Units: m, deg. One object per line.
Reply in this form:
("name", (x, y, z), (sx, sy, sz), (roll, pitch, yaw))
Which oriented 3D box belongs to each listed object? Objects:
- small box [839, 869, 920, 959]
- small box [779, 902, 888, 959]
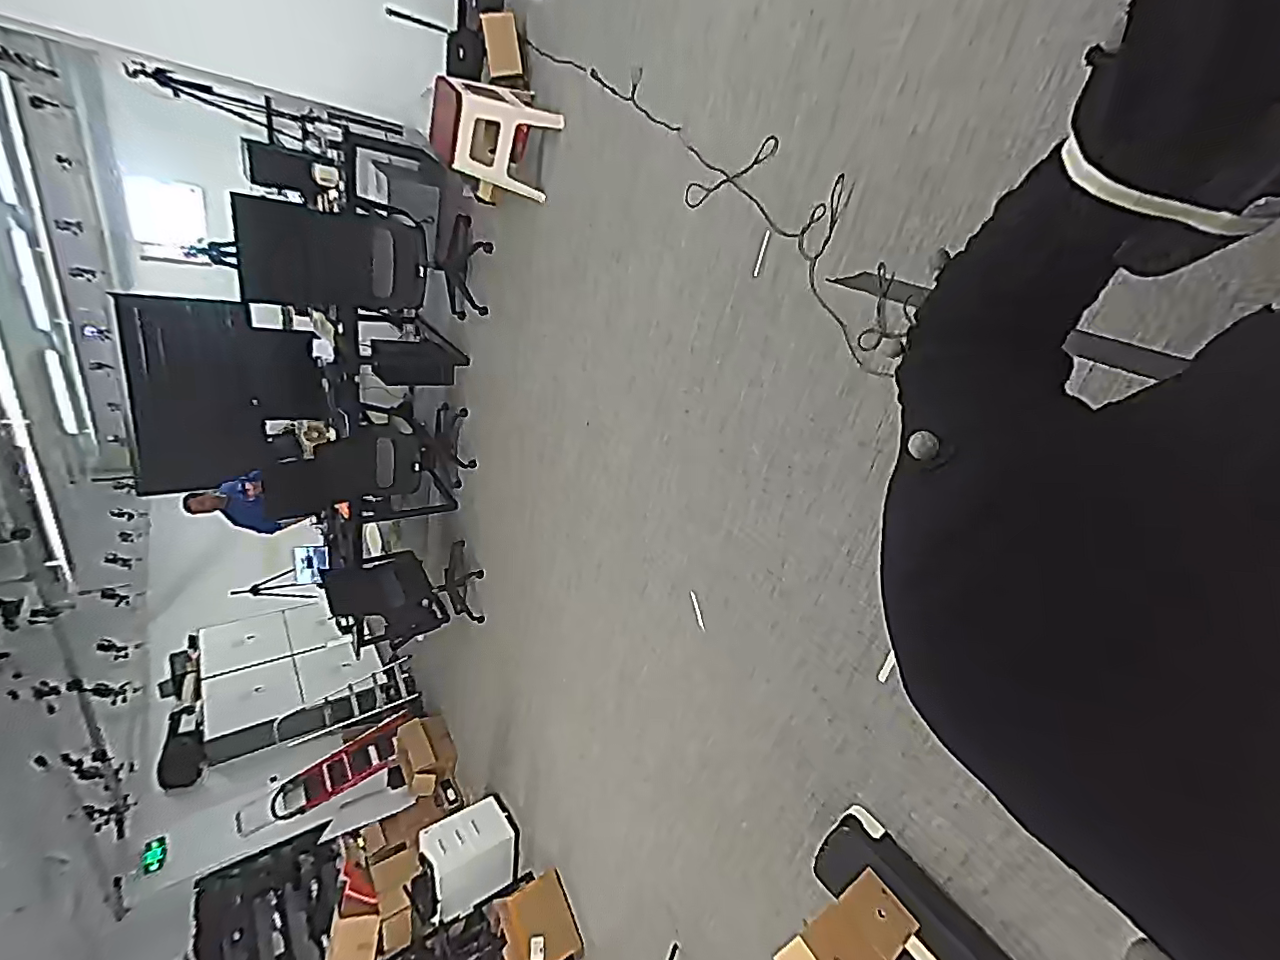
("small box", (0.639, 1.231, 1.494), (0.168, 0.176, 0.179), (43, 129, 39))
("small box", (0.505, 1.246, 1.402), (0.179, 0.176, 0.168), (45, 129, 36))
